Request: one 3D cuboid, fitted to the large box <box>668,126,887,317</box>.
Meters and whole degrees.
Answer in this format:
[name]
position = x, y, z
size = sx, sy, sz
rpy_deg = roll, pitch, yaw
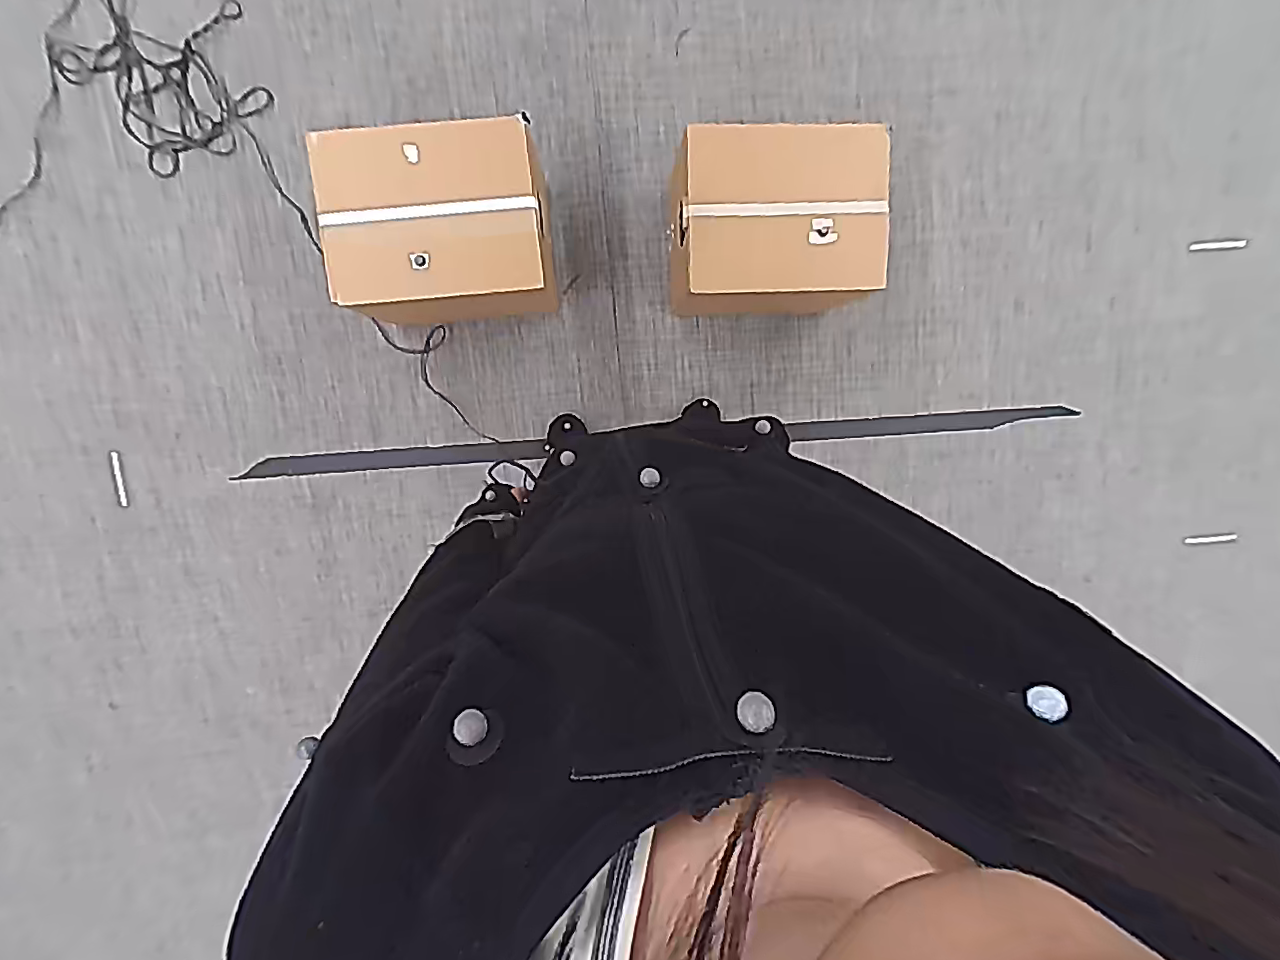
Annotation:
[large box]
position = 0.284, -0.557, 1.220
size = 0.408, 0.320, 0.320
rpy_deg = -2, 98, -4
